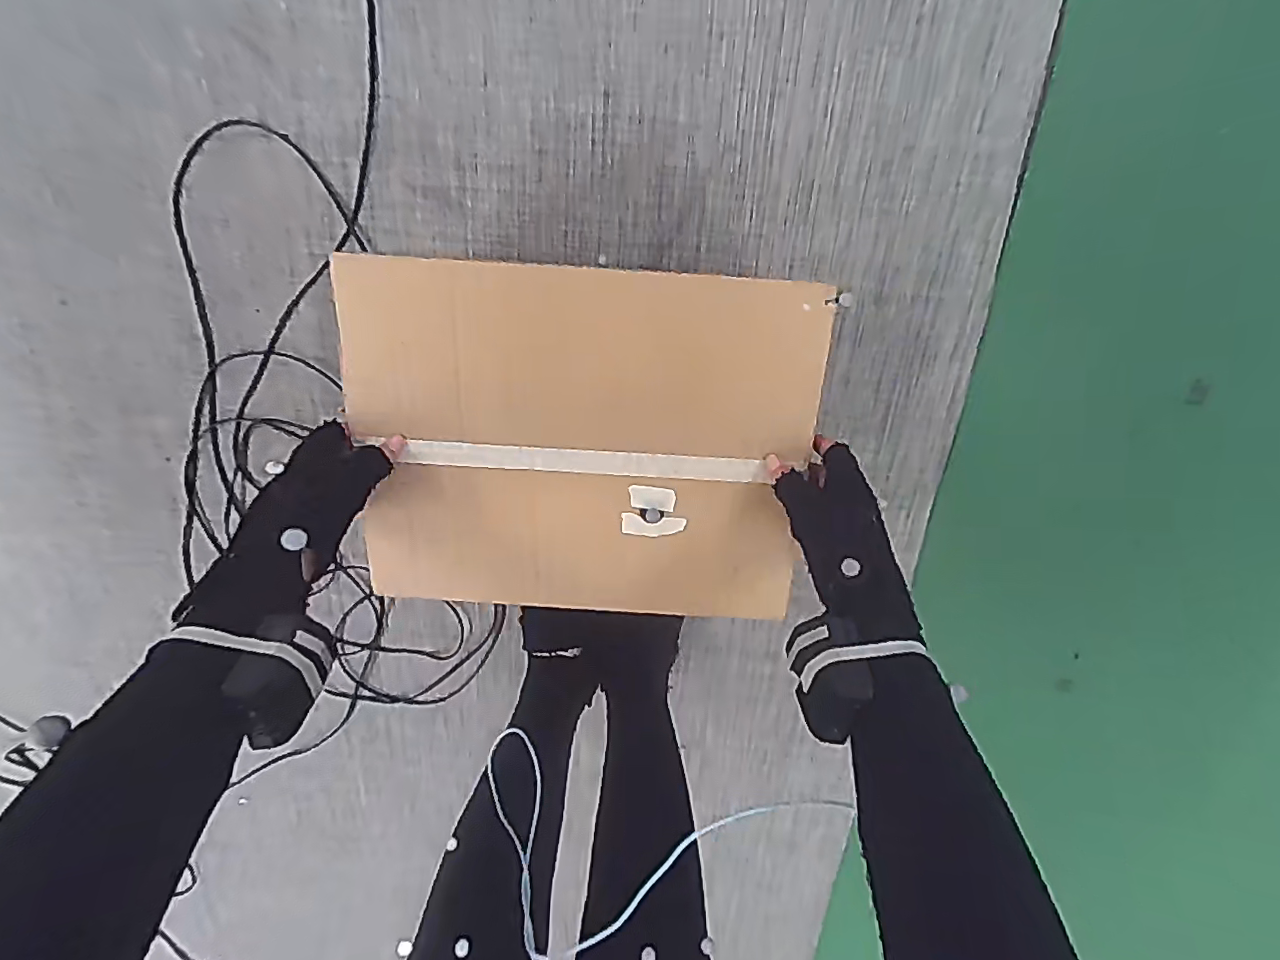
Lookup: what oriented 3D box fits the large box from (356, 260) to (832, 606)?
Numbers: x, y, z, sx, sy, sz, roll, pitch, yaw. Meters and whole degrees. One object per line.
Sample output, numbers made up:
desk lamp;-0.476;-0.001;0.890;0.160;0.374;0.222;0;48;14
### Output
large box;-0.044;-0.072;0.633;0.408;0.320;0.320;3;109;0
